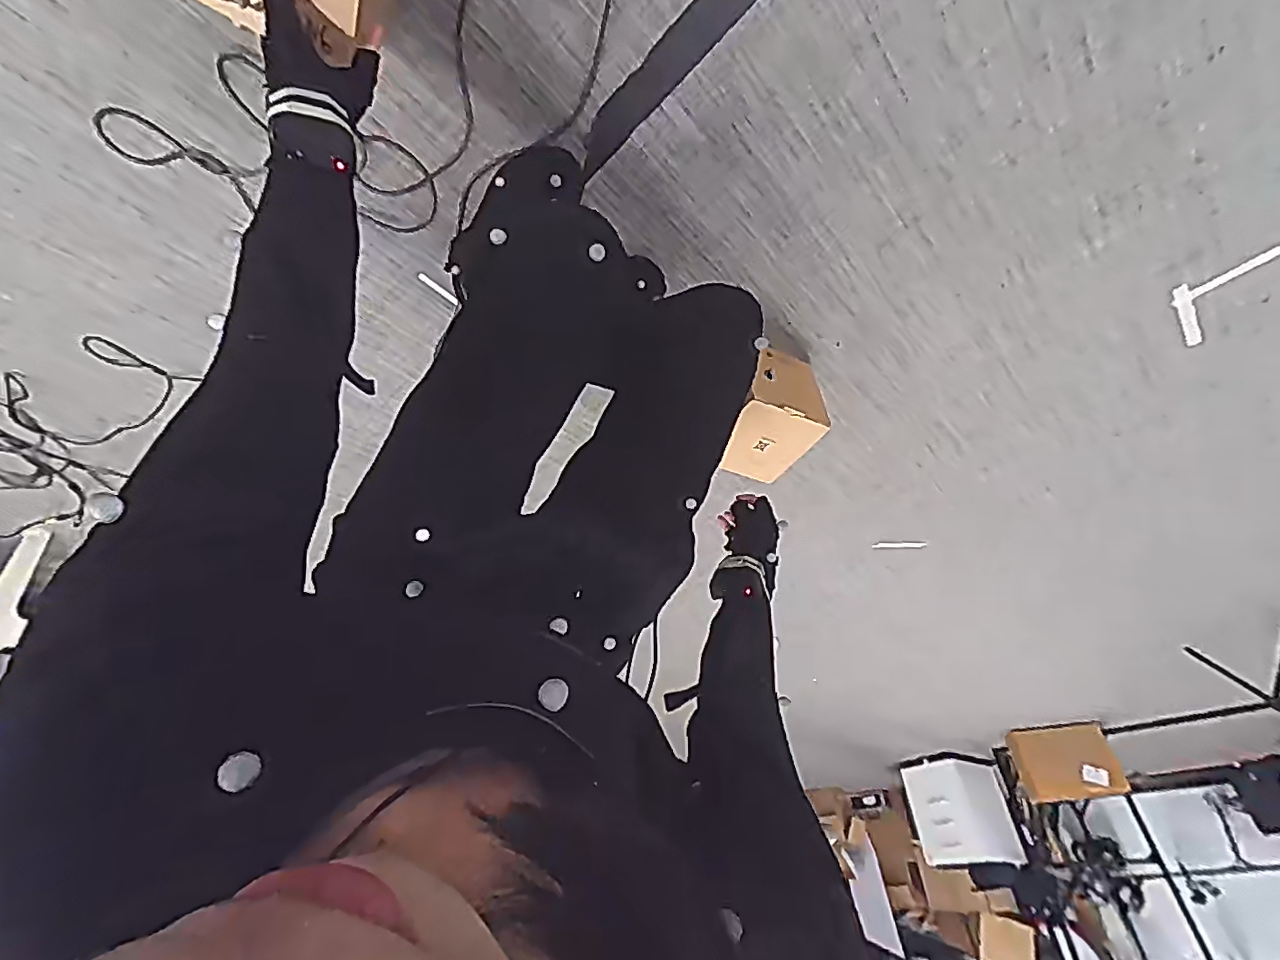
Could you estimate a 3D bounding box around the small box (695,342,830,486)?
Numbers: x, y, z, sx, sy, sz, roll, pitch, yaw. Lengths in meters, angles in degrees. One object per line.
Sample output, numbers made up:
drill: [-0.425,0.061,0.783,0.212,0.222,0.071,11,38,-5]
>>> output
small box: [0.211,-0.121,0.993,0.168,0.176,0.179,17,138,-20]

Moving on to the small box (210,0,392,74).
small box: [-0.311,-0.520,0.476,0.168,0.176,0.179,19,136,-25]
